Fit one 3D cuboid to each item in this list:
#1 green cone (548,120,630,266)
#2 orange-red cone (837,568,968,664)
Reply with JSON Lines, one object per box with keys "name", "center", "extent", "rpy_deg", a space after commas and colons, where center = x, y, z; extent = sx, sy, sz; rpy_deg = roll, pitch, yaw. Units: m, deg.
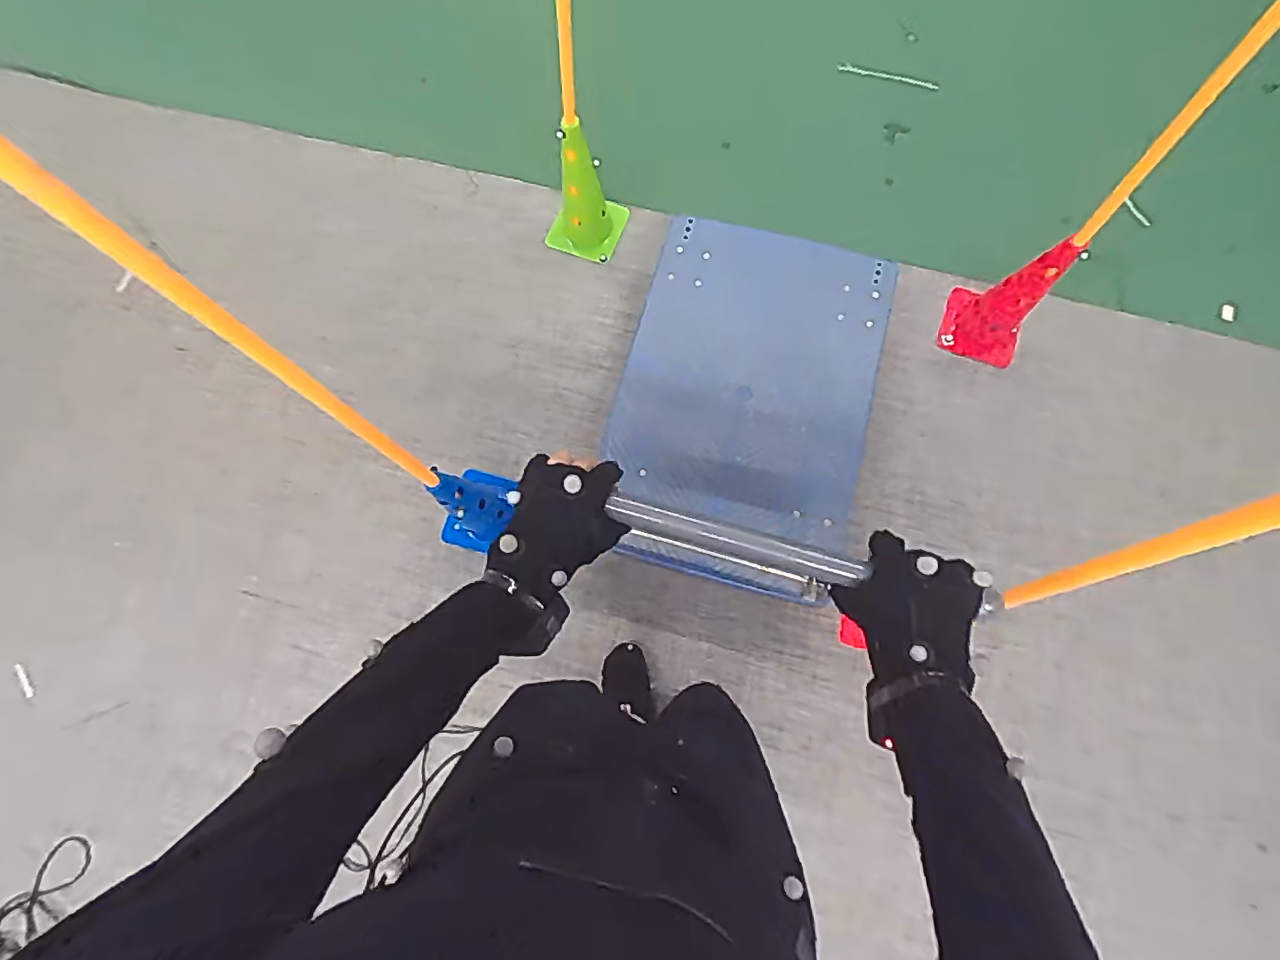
{"name": "green cone", "center": [-0.154, -0.775, 1.423], "extent": [0.202, 0.368, 0.200], "rpy_deg": [19, 77, 7]}
{"name": "orange-red cone", "center": [0.582, 0.285, 1.149], "extent": [0.199, 0.360, 0.198], "rpy_deg": [14, 76, 7]}
